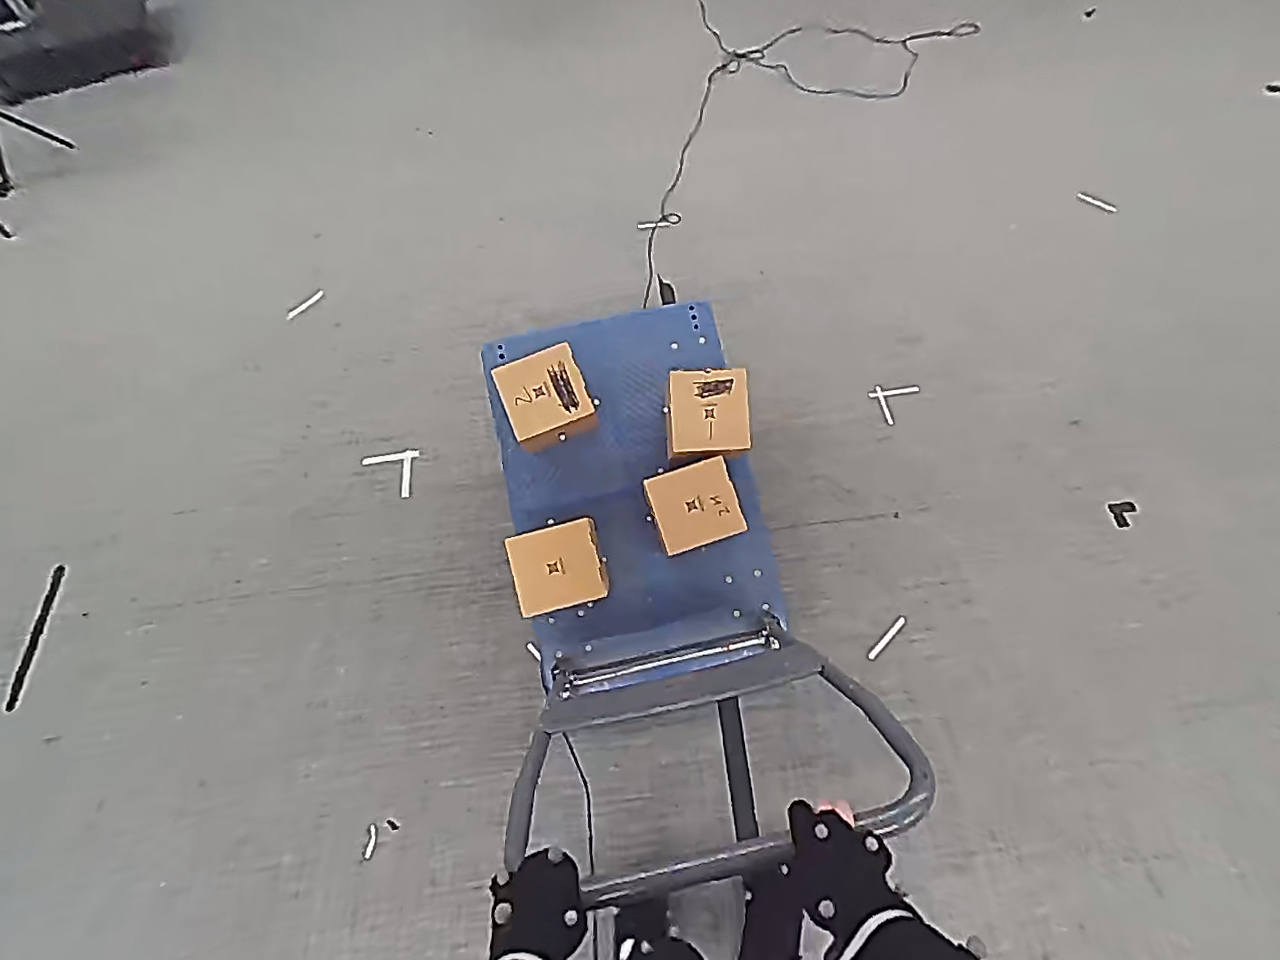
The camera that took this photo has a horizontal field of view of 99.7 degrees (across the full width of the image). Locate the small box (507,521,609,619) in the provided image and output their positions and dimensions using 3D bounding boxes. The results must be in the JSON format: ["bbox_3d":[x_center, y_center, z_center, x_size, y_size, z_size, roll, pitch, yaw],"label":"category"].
[{"bbox_3d":[-0.171,0.193,1.175,0.179,0.176,0.168,-15,84,-4],"label":"small box"}]

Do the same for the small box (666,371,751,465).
[{"bbox_3d":[0.146,-0.133,1.212,0.168,0.176,0.179,-3,85,0],"label":"small box"}]

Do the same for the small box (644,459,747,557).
[{"bbox_3d":[0.115,0.066,1.190,0.179,0.176,0.168,-18,85,-2],"label":"small box"}]
